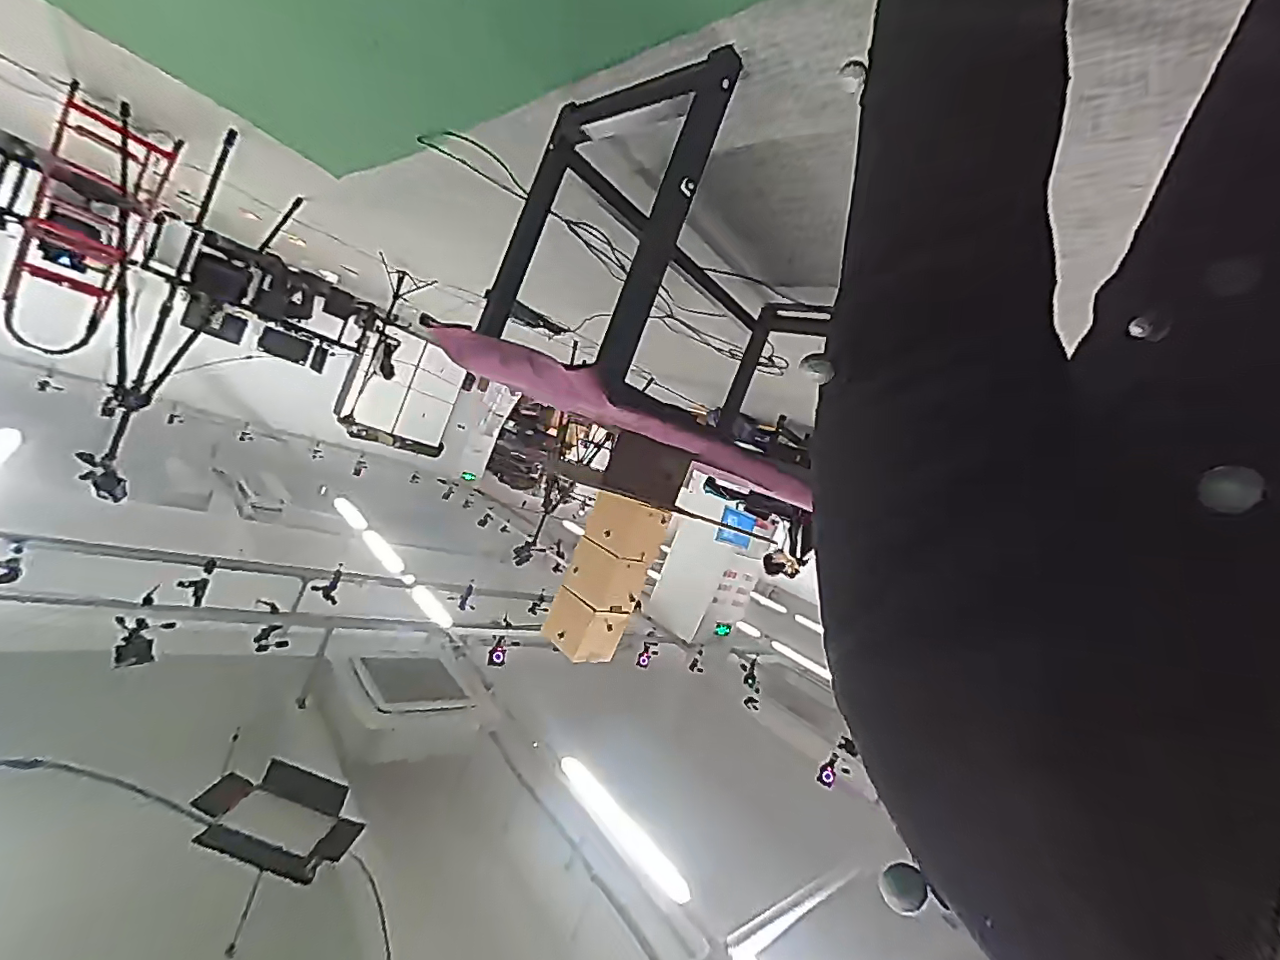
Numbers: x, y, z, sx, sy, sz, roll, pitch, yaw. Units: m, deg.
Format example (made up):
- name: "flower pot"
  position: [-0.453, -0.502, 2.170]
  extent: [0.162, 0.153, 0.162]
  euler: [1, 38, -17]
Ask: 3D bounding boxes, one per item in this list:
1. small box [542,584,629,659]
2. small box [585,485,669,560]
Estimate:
- name: "small box"
  position: [-0.163, 0.428, 1.662]
  extent: [0.179, 0.176, 0.168]
  euler: [25, -177, 43]
- name: "small box"
  position: [-0.032, 0.128, 1.648]
  extent: [0.179, 0.176, 0.168]
  euler: [25, -176, 41]
